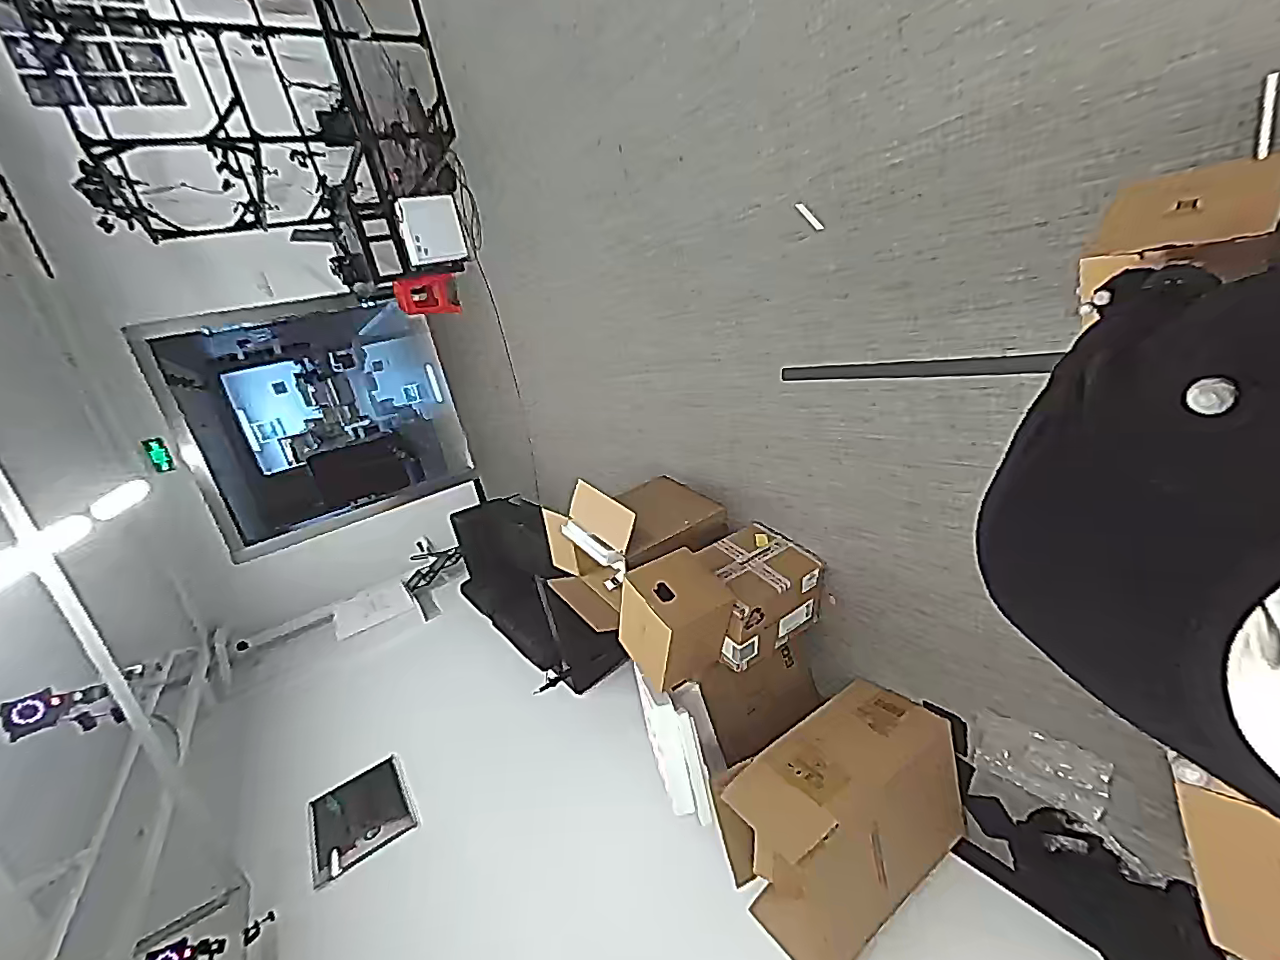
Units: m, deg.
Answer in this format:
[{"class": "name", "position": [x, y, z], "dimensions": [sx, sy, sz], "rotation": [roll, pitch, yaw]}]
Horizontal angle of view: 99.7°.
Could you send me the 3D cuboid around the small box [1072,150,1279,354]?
[{"class": "small box", "position": [0.698, -0.281, 0.706], "dimensions": [0.168, 0.179, 0.176], "rotation": [16, 152, 48]}]
